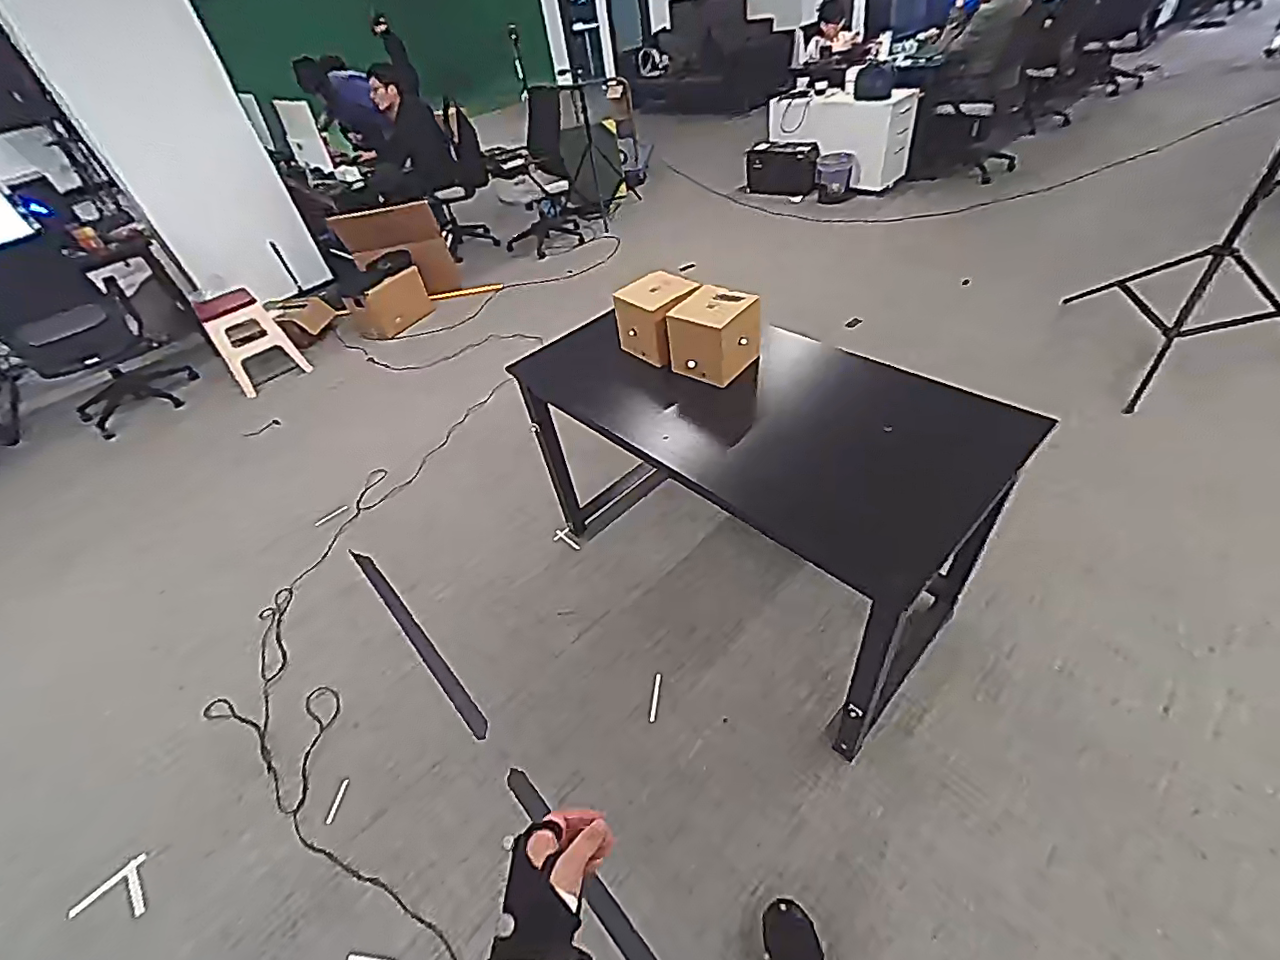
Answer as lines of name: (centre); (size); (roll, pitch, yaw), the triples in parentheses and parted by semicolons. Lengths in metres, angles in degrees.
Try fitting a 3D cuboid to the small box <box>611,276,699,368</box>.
small box: (0.048, -0.433, 1.489); (0.179, 0.176, 0.168); (-35, 48, -24)
